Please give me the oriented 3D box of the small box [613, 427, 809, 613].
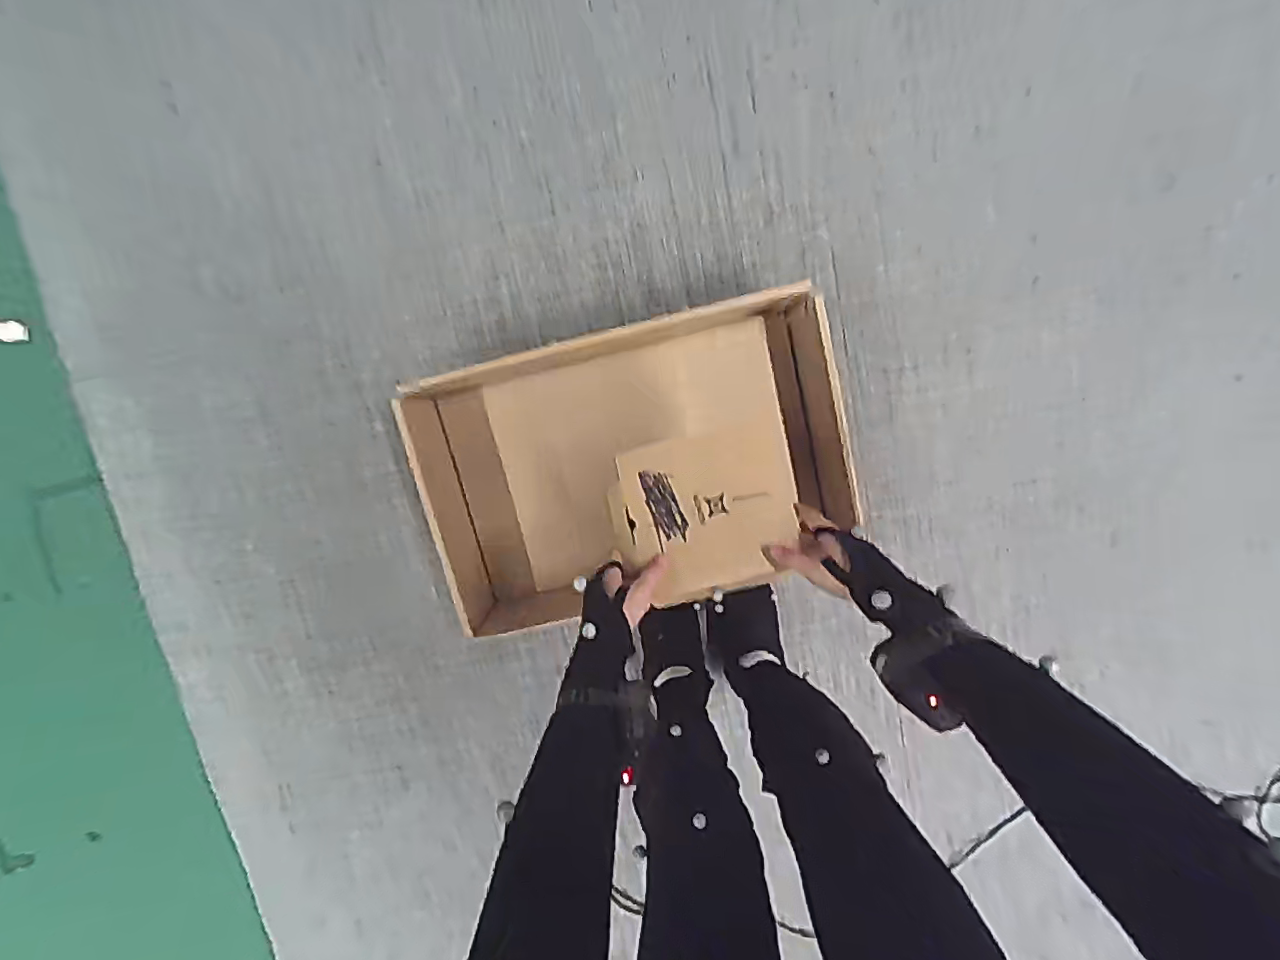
[{"bbox_3d":[0.081,0.059,0.648,0.179,0.176,0.168,-15,73,3],"label":"small box"}]
